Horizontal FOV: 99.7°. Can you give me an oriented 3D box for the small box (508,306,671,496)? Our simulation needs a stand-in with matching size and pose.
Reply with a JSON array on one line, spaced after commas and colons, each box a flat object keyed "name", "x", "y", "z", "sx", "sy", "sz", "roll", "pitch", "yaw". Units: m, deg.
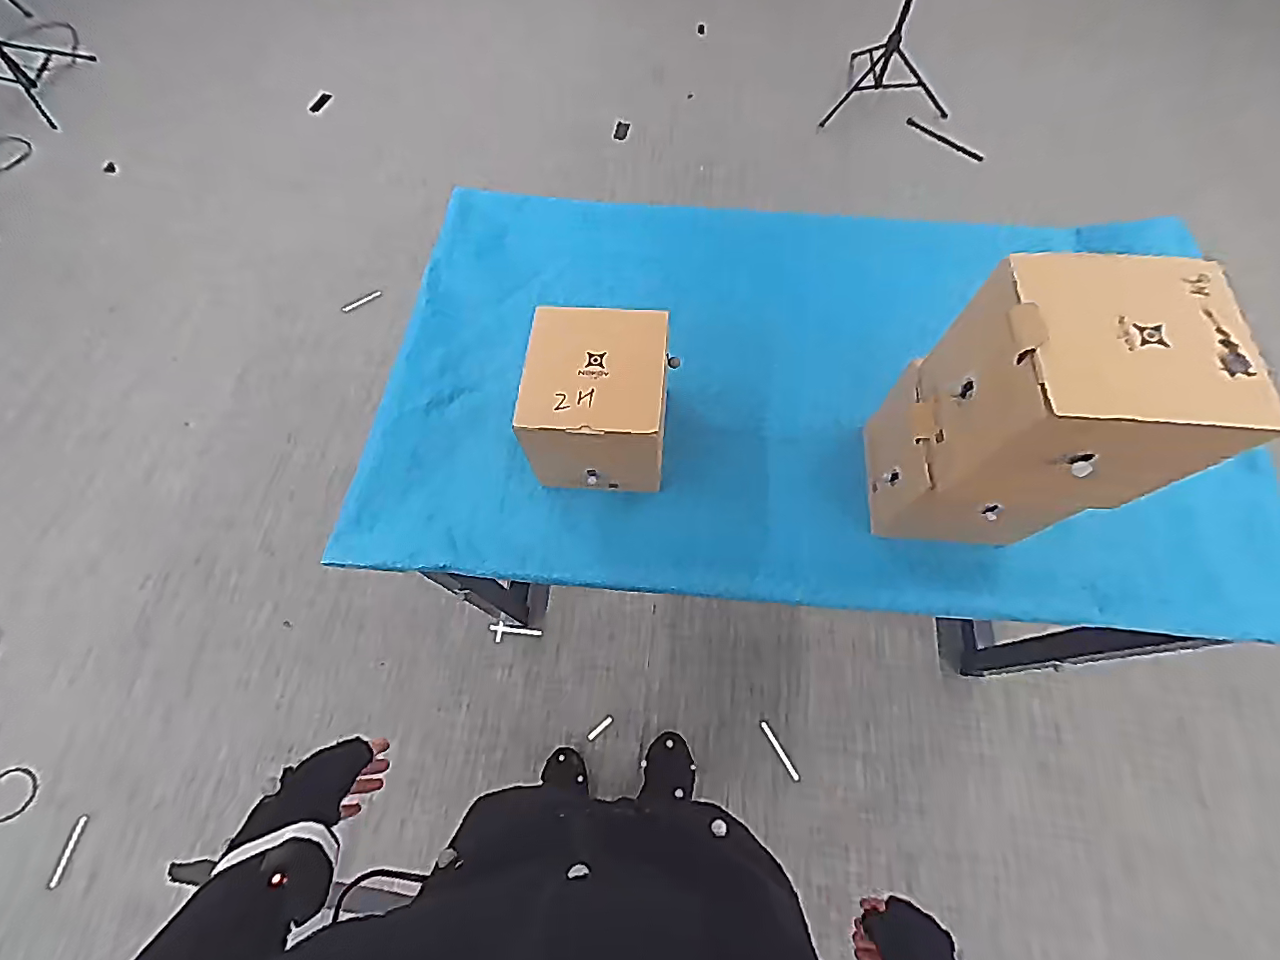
[{"name": "small box", "x": -0.053, "y": -0.095, "z": 0.702, "sx": 0.168, "sy": 0.176, "sz": 0.179, "roll": 7, "pitch": 69, "yaw": 6}]

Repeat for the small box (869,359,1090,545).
[{"name": "small box", "x": 0.389, "y": -0.026, "z": 0.653, "sx": 0.179, "sy": 0.176, "sz": 0.168, "roll": 5, "pitch": 67, "yaw": 4}]

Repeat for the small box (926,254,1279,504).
[{"name": "small box", "x": 0.390, "y": -0.083, "z": 0.501, "sx": 0.179, "sy": 0.176, "sz": 0.168, "roll": 1, "pitch": 67, "yaw": 2}]
